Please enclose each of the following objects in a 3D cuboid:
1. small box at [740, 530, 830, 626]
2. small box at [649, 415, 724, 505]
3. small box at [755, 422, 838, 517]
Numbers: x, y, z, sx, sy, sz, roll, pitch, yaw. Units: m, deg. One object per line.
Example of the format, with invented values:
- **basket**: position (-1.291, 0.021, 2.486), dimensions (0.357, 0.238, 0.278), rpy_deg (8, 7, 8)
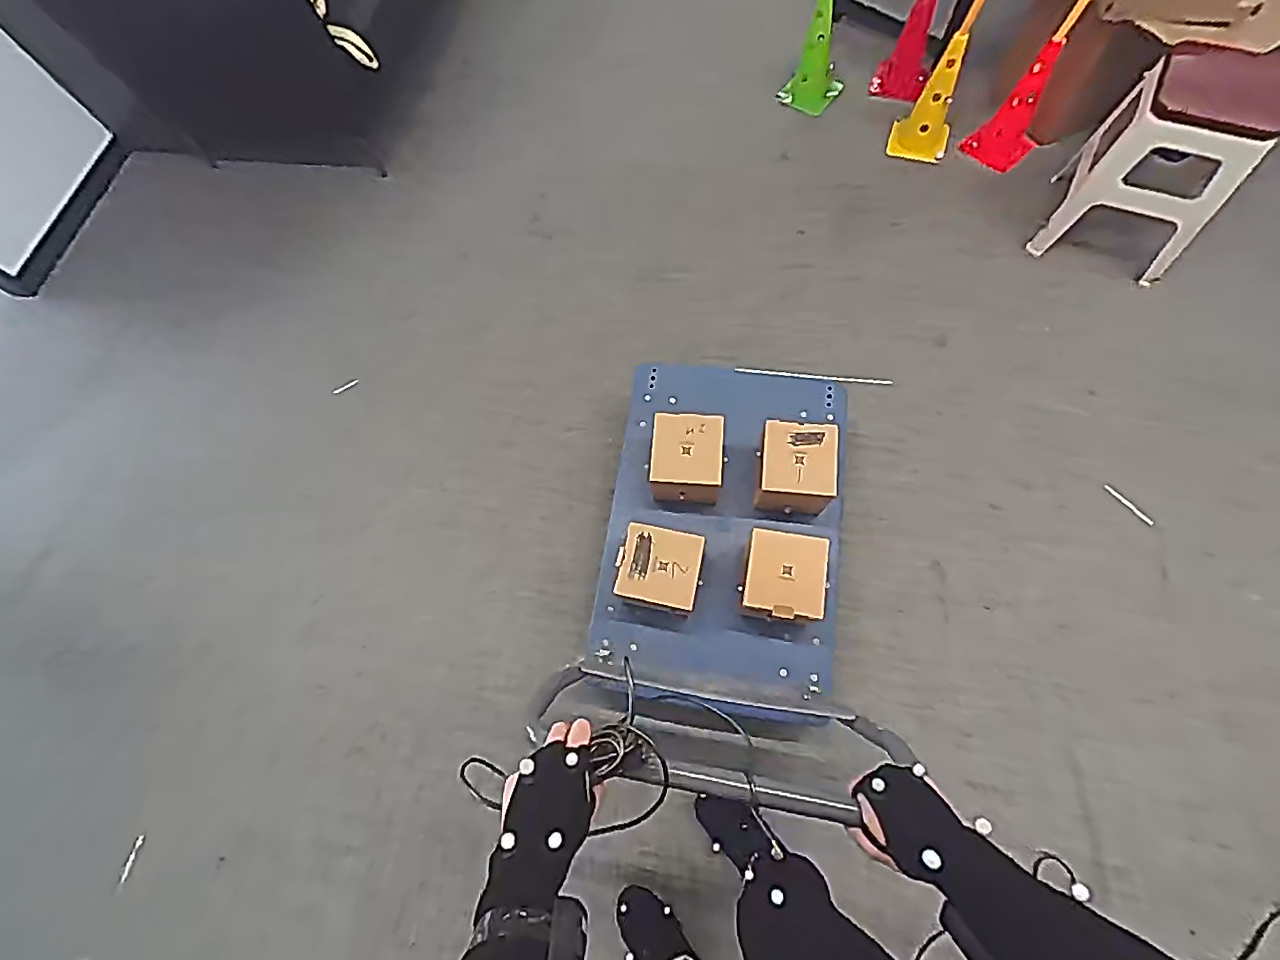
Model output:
- **small box**: position (0.322, 0.227, 1.226), dimensions (0.168, 0.176, 0.179), rpy_deg (8, 73, 8)
- **small box**: position (0.118, -0.043, 1.335), dimensions (0.168, 0.176, 0.179), rpy_deg (4, 72, 6)
- **small box**: position (0.373, -0.022, 1.303), dimensions (0.168, 0.176, 0.179), rpy_deg (5, 73, 8)
